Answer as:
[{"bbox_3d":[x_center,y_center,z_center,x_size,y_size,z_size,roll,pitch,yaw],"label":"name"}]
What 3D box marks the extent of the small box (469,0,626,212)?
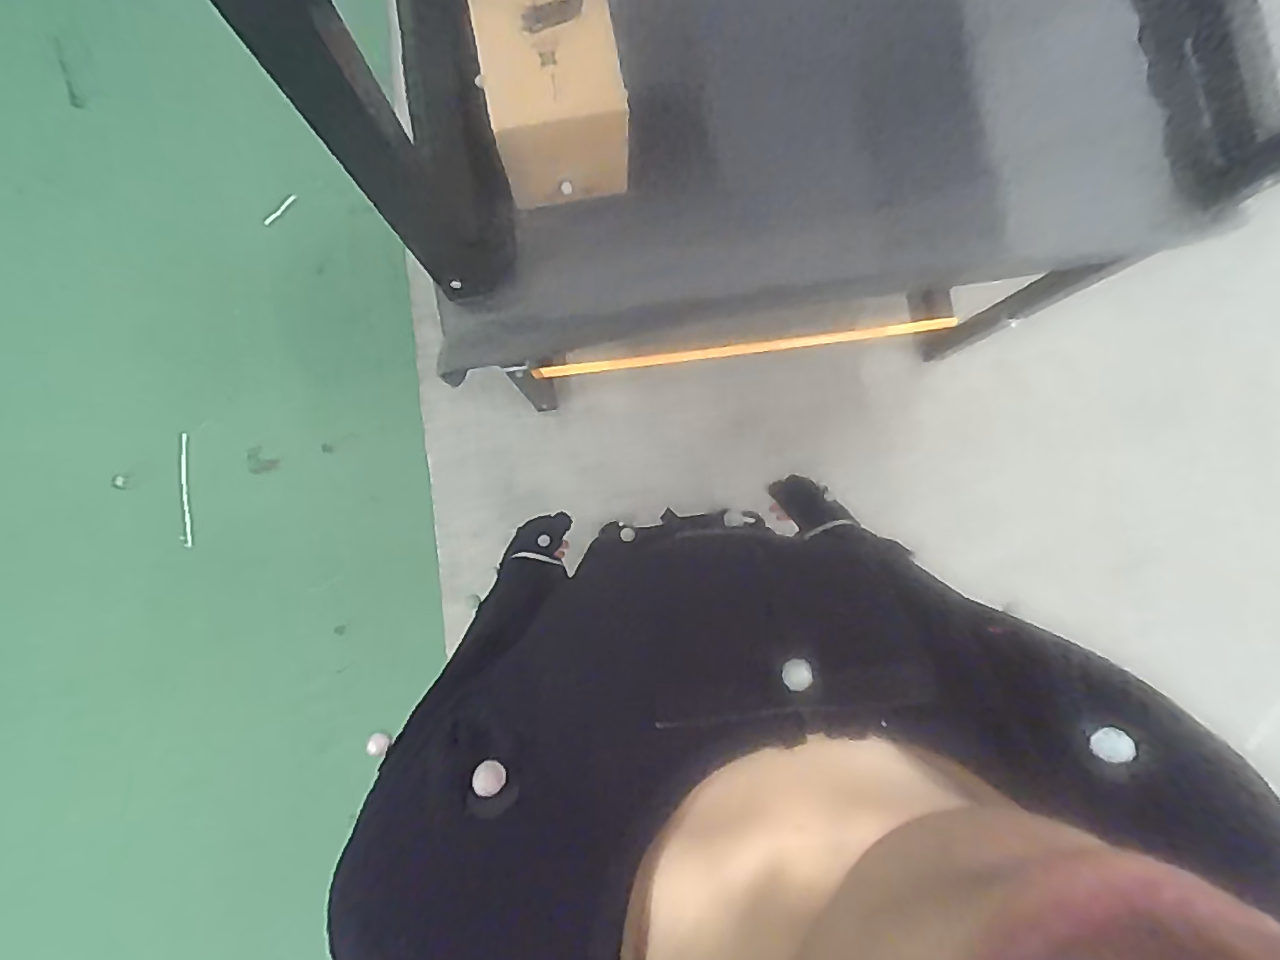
[{"bbox_3d":[-0.114,-0.496,0.724,0.168,0.176,0.179,-10,86,-2],"label":"small box"}]
